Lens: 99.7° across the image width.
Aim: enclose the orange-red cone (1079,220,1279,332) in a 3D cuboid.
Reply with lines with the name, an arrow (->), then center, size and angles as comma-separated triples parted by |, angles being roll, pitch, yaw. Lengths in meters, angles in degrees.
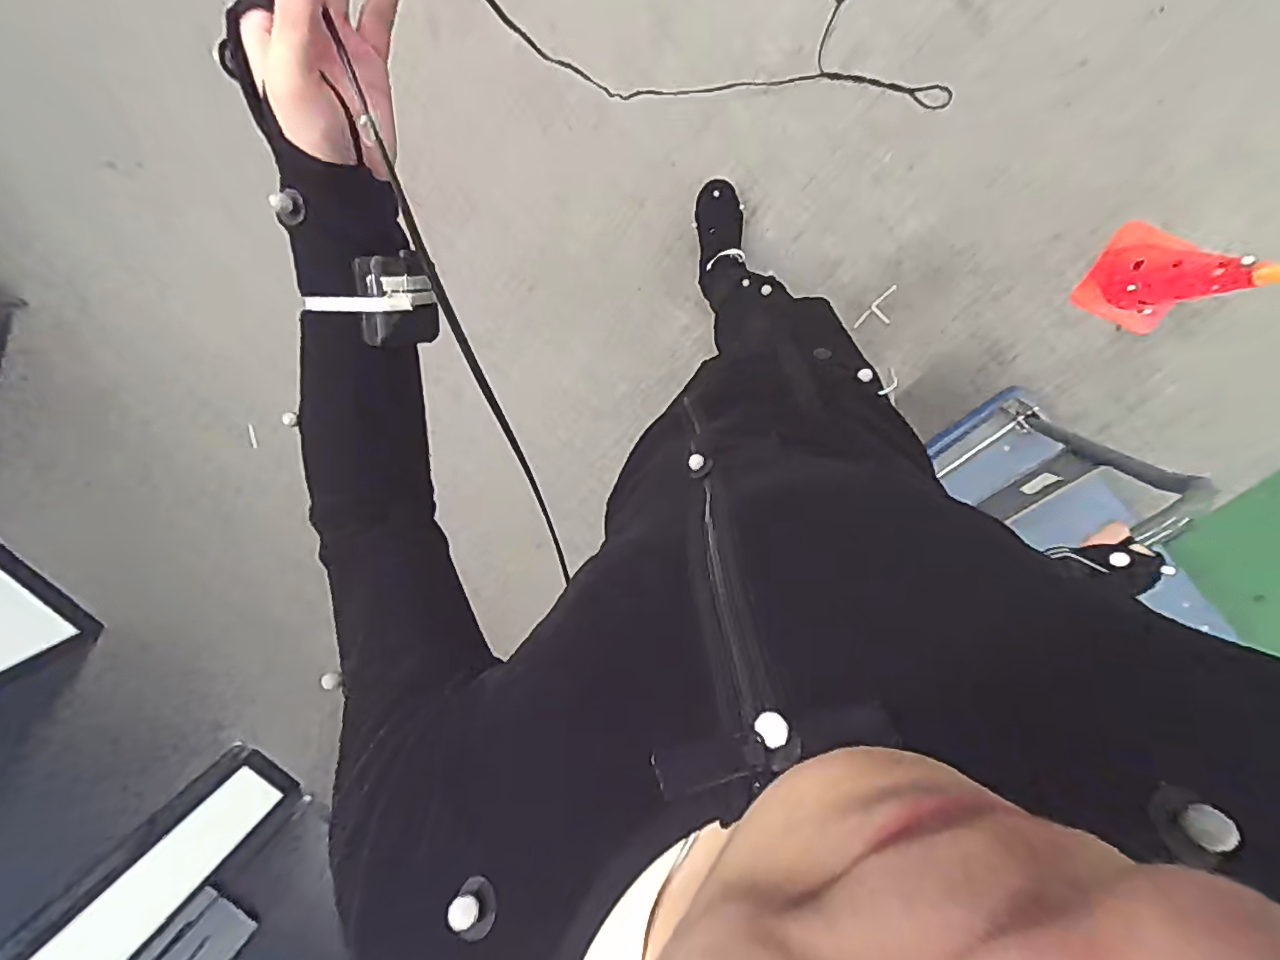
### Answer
orange-red cone -> 1.119, -0.413, 1.083 | 0.198, 0.360, 0.199 | 28, 111, 2
